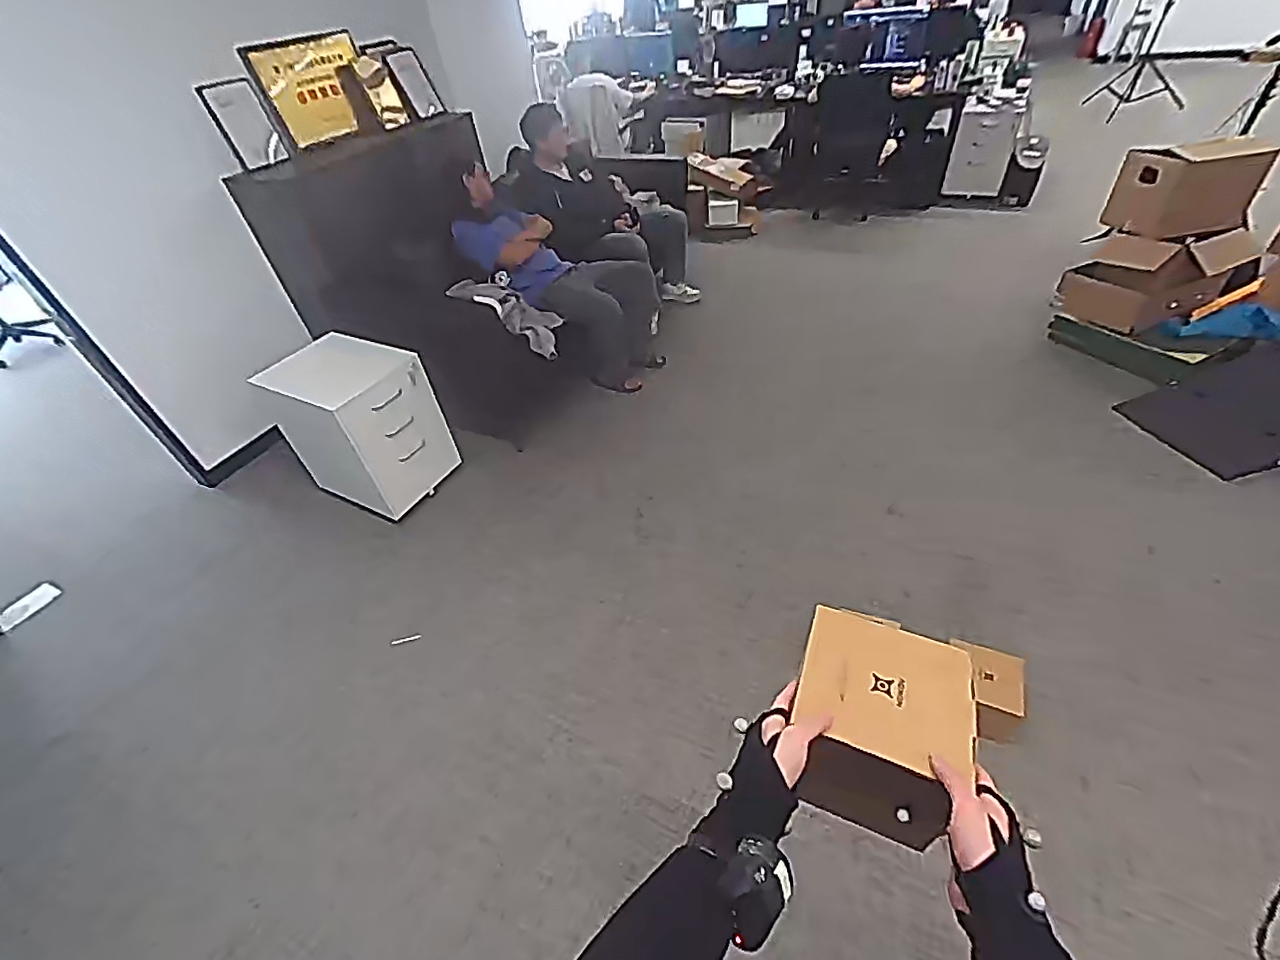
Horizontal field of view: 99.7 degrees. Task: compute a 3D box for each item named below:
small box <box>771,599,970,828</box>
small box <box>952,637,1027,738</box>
[{"bbox_3d":[0.269,0.280,0.647,0.179,0.176,0.168,15,42,20],"label":"small box"},{"bbox_3d":[0.904,0.560,1.451,0.179,0.176,0.168,18,51,26],"label":"small box"}]
